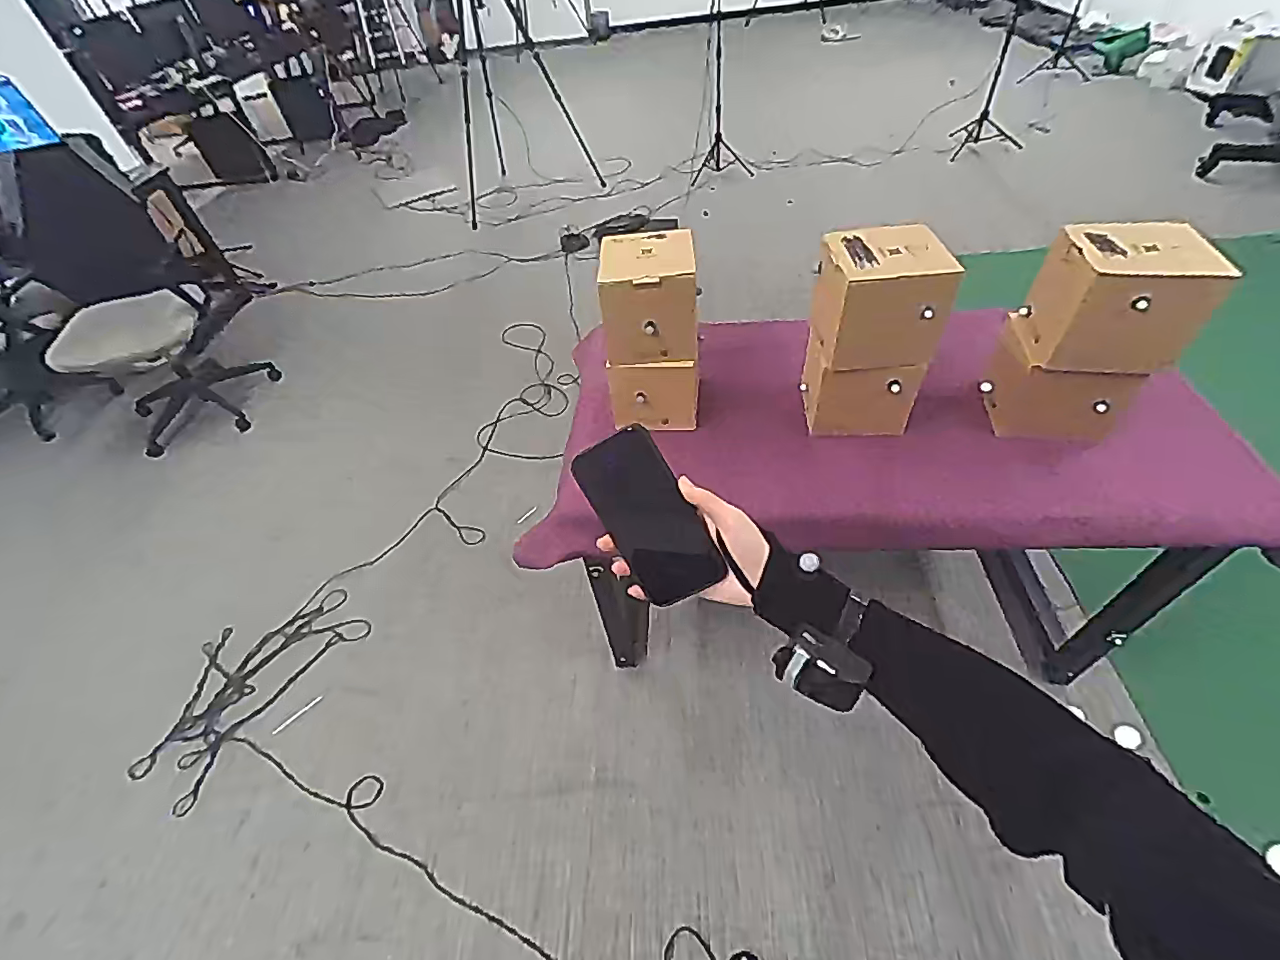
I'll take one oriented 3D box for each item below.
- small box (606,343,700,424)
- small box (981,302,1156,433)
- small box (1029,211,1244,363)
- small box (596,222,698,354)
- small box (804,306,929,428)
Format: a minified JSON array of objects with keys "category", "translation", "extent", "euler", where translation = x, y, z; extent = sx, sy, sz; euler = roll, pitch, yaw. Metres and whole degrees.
[{"category":"small box","translation":[0.035,-0.228,1.106],"extent":[0.168,0.176,0.179],"euler":[0,48,9]},{"category":"small box","translation":[0.755,-0.202,0.977],"extent":[0.179,0.176,0.168],"euler":[5,49,13]},{"category":"small box","translation":[0.745,-0.299,0.845],"extent":[0.179,0.176,0.168],"euler":[5,49,12]},{"category":"small box","translation":[0.019,-0.344,0.990],"extent":[0.168,0.176,0.179],"euler":[-3,49,5]},{"category":"small box","translation":[0.420,-0.213,1.034],"extent":[0.179,0.176,0.168],"euler":[0,48,9]}]
